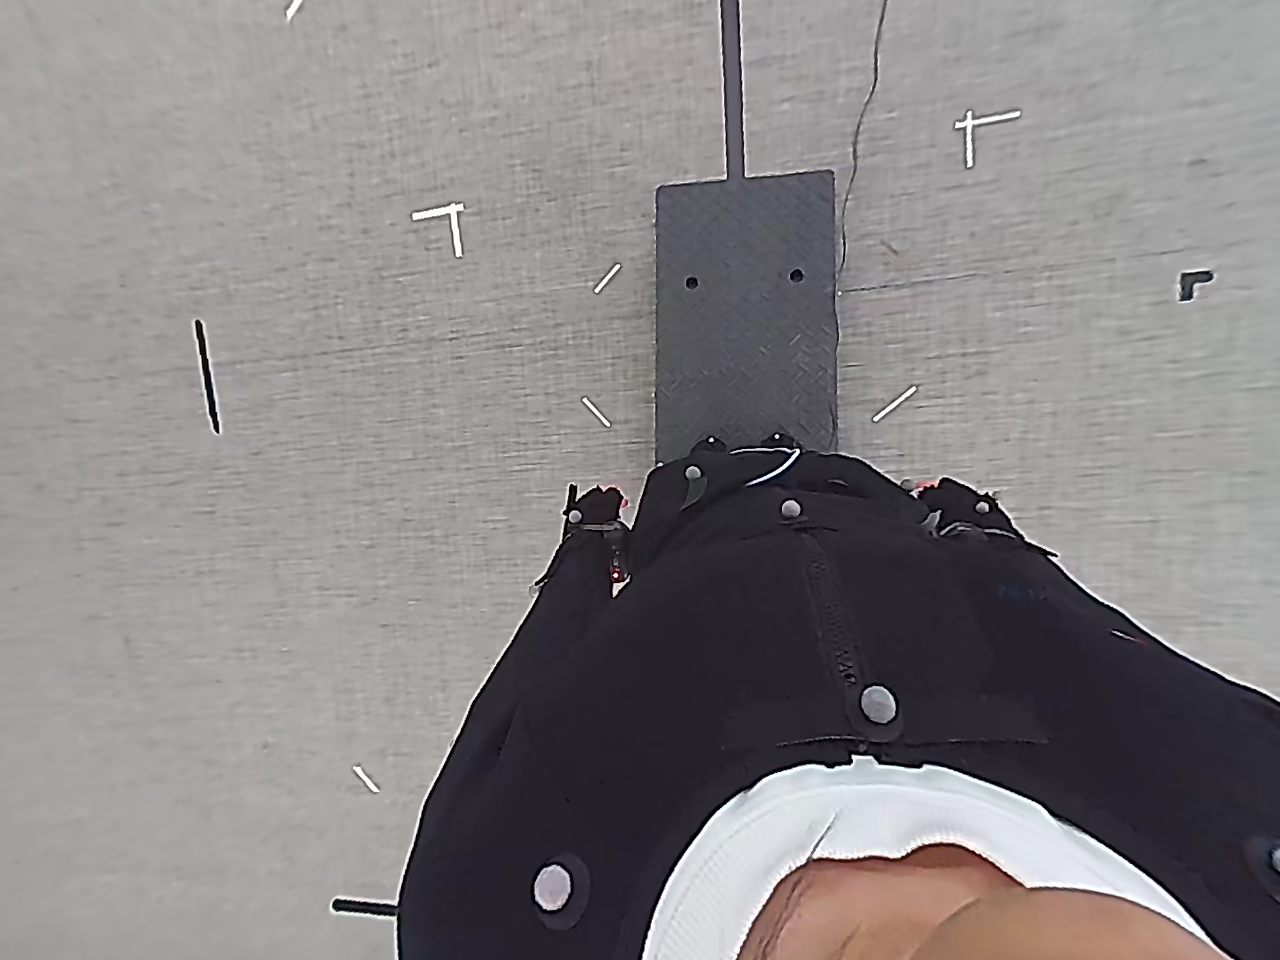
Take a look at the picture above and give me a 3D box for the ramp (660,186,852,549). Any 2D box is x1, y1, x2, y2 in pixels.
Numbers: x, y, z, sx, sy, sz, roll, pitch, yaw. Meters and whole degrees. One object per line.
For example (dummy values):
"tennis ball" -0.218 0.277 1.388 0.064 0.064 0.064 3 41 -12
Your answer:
"ramp" 0.303 -0.312 1.499 0.509 0.206 0.991 -3 94 12
